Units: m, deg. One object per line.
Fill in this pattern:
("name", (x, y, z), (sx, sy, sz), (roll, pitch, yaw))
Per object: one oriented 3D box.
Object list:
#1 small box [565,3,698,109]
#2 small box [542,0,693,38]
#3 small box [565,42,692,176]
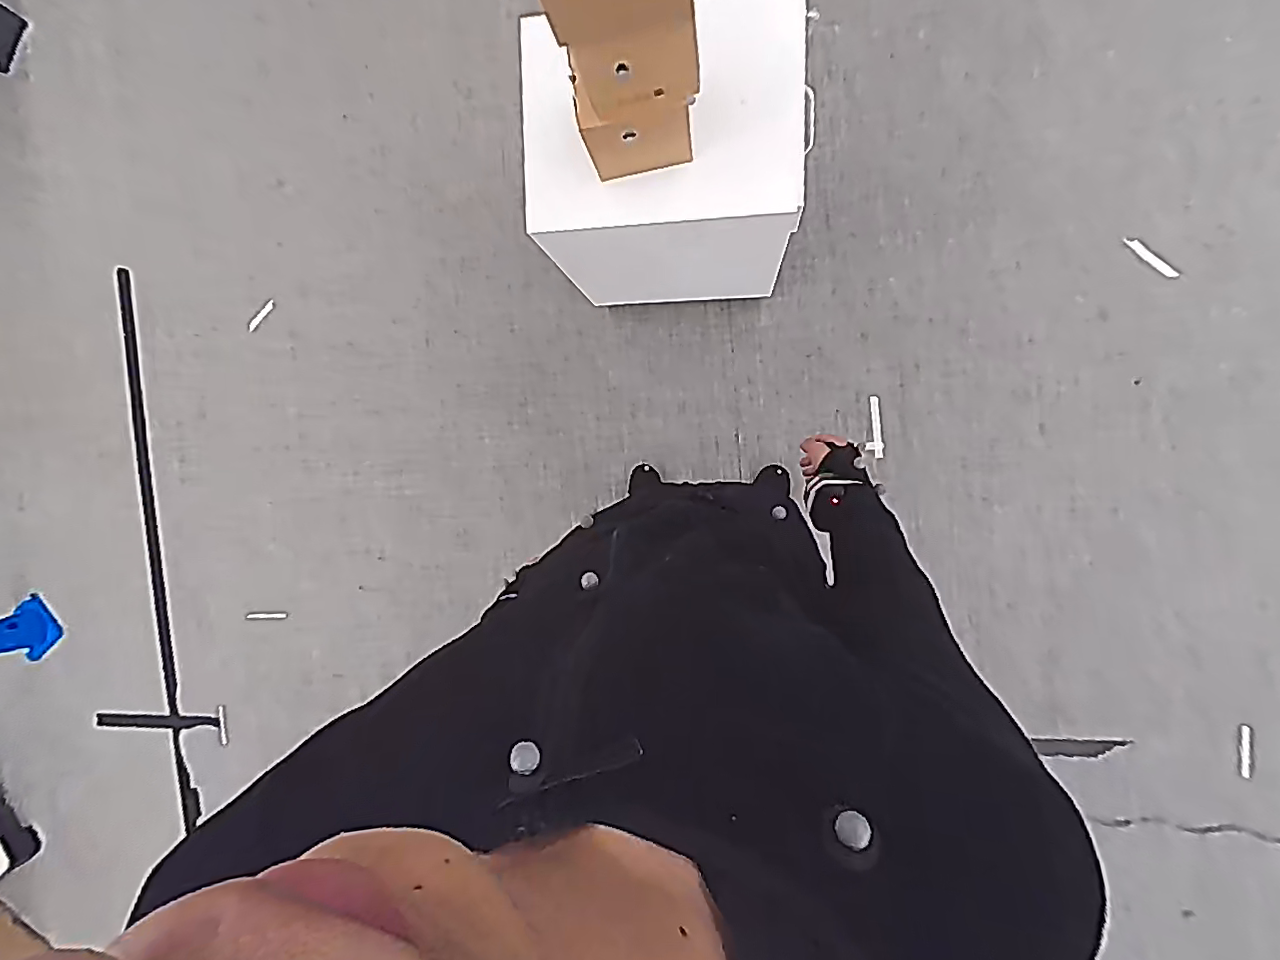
("small box", (-0.013, -0.654, 0.749), (0.168, 0.176, 0.179), (-7, 92, 9))
("small box", (-0.039, -0.631, 0.587), (0.179, 0.176, 0.168), (-4, 93, 9))
("small box", (-0.012, -0.645, 0.913), (0.179, 0.176, 0.168), (-8, 92, 8))
